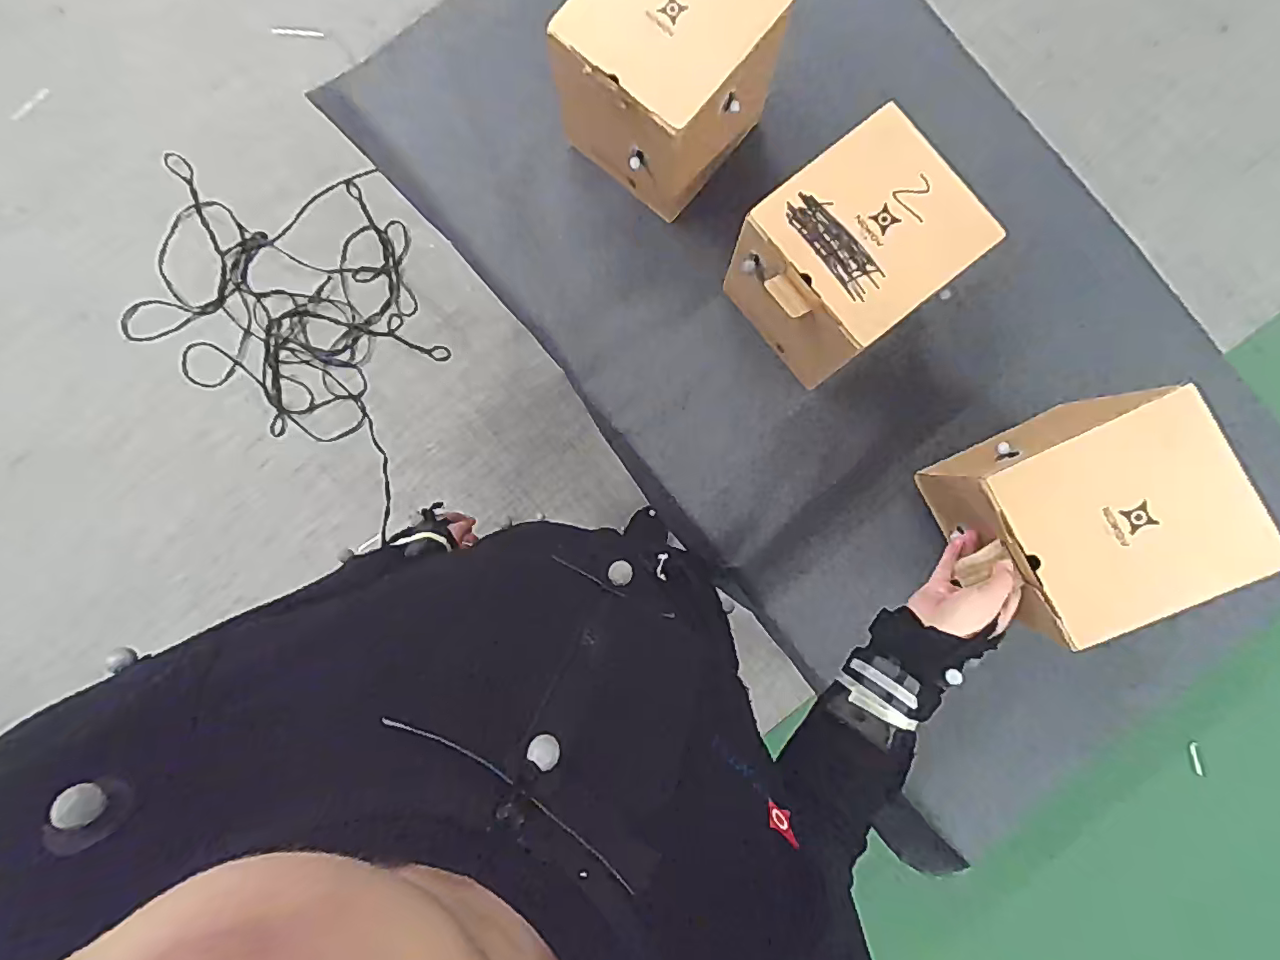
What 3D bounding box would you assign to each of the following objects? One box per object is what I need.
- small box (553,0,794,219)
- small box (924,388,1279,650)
[{"bbox_3d":[0.033,-0.432,0.592,0.168,0.176,0.179,40,87,2],"label":"small box"},{"bbox_3d":[0.419,0.031,0.524,0.179,0.176,0.168,-28,87,9],"label":"small box"}]
